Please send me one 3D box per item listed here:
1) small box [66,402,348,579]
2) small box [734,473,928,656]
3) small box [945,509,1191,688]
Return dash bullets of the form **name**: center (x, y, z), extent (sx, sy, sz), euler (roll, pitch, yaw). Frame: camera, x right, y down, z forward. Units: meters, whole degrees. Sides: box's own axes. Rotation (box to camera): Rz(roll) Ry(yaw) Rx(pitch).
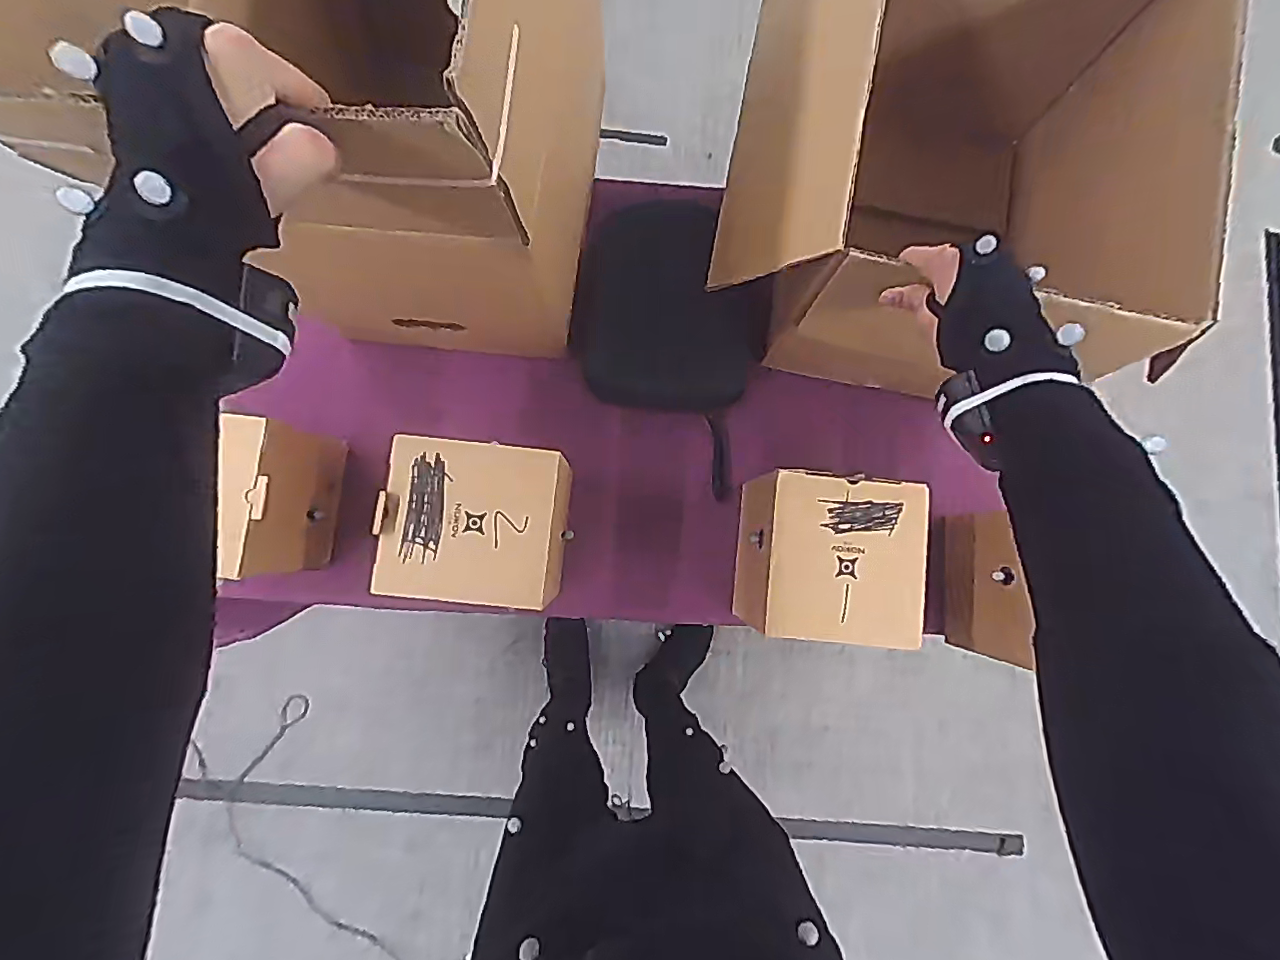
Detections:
- **small box**: center (-0.478, 0.019, 0.626), extent (0.179, 0.176, 0.168), euler (7, 84, -3)
- **small box**: center (0.212, 0.095, 0.641), extent (0.168, 0.176, 0.179), euler (6, 84, -1)
- **small box**: center (0.489, 0.132, 0.644), extent (0.168, 0.176, 0.179), euler (4, 84, 0)
